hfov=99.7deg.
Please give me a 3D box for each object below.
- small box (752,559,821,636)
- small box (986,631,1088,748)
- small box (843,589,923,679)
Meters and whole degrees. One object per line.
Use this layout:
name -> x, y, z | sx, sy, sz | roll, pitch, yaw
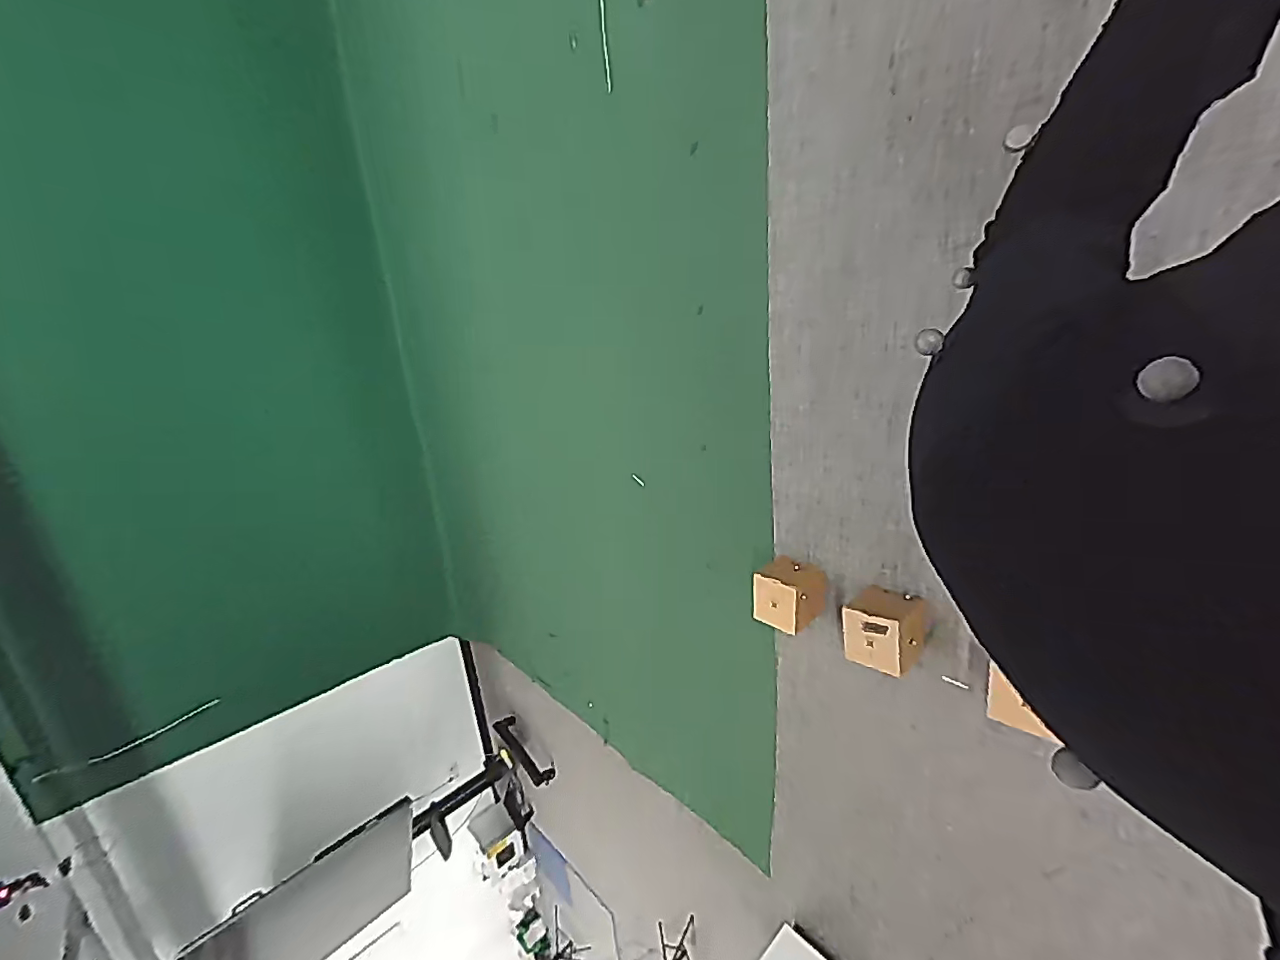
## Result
small box -> 0.495, 0.389, 1.819 | 0.168, 0.176, 0.179 | 14, 114, 45
small box -> 0.967, 0.500, 1.316 | 0.168, 0.176, 0.179 | 10, 111, 45
small box -> 0.714, 0.441, 1.586 | 0.168, 0.176, 0.179 | 8, 111, 48
